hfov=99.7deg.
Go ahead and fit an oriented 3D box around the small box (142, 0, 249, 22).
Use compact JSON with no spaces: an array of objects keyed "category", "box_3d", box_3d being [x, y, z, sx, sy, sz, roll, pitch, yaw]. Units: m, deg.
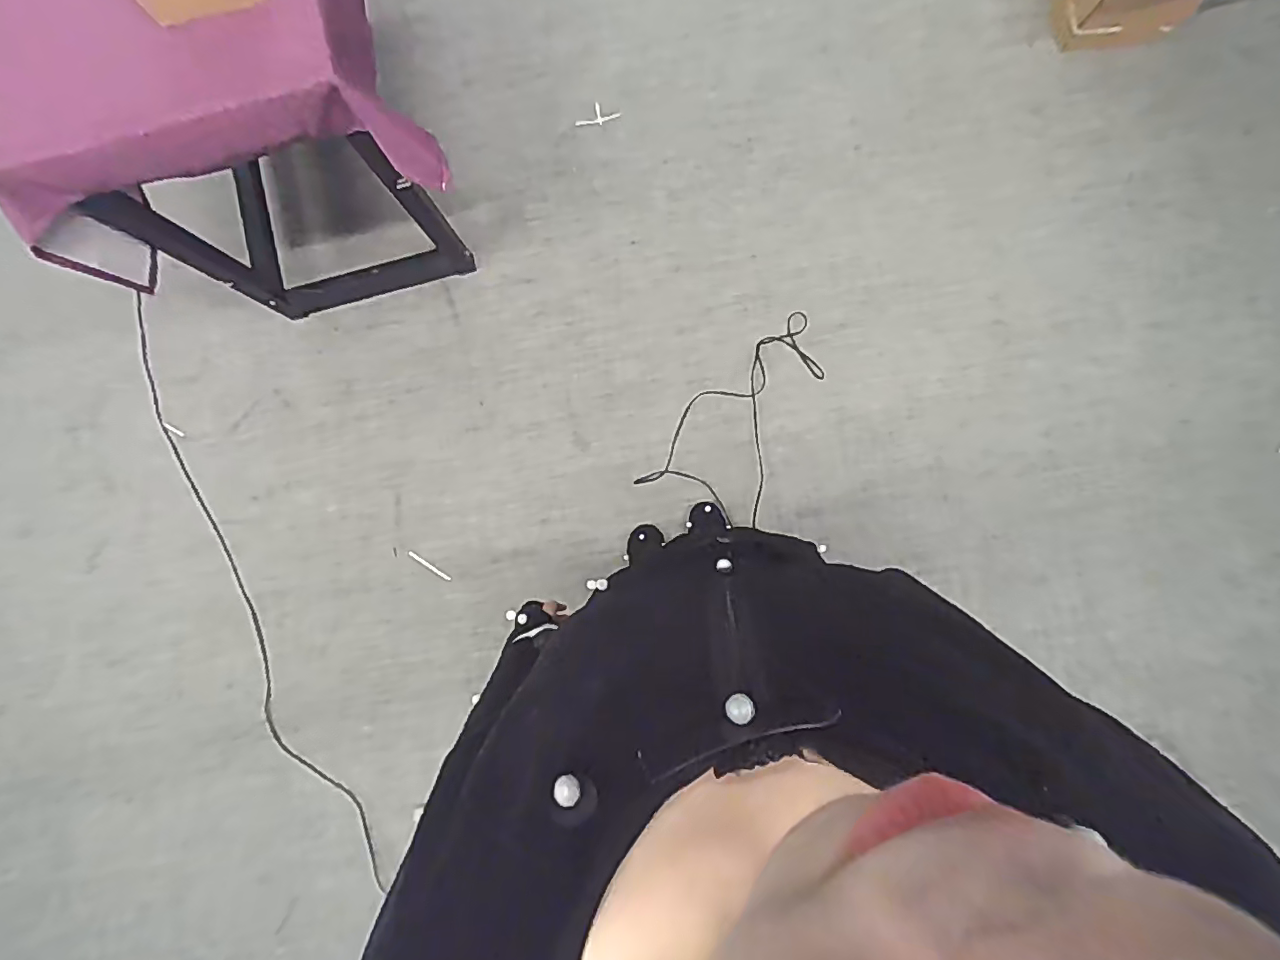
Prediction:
[{"category":"small box","box_3d":[-0.705,-0.837,0.797,0.179,0.176,0.168,-11,86,2]}]
